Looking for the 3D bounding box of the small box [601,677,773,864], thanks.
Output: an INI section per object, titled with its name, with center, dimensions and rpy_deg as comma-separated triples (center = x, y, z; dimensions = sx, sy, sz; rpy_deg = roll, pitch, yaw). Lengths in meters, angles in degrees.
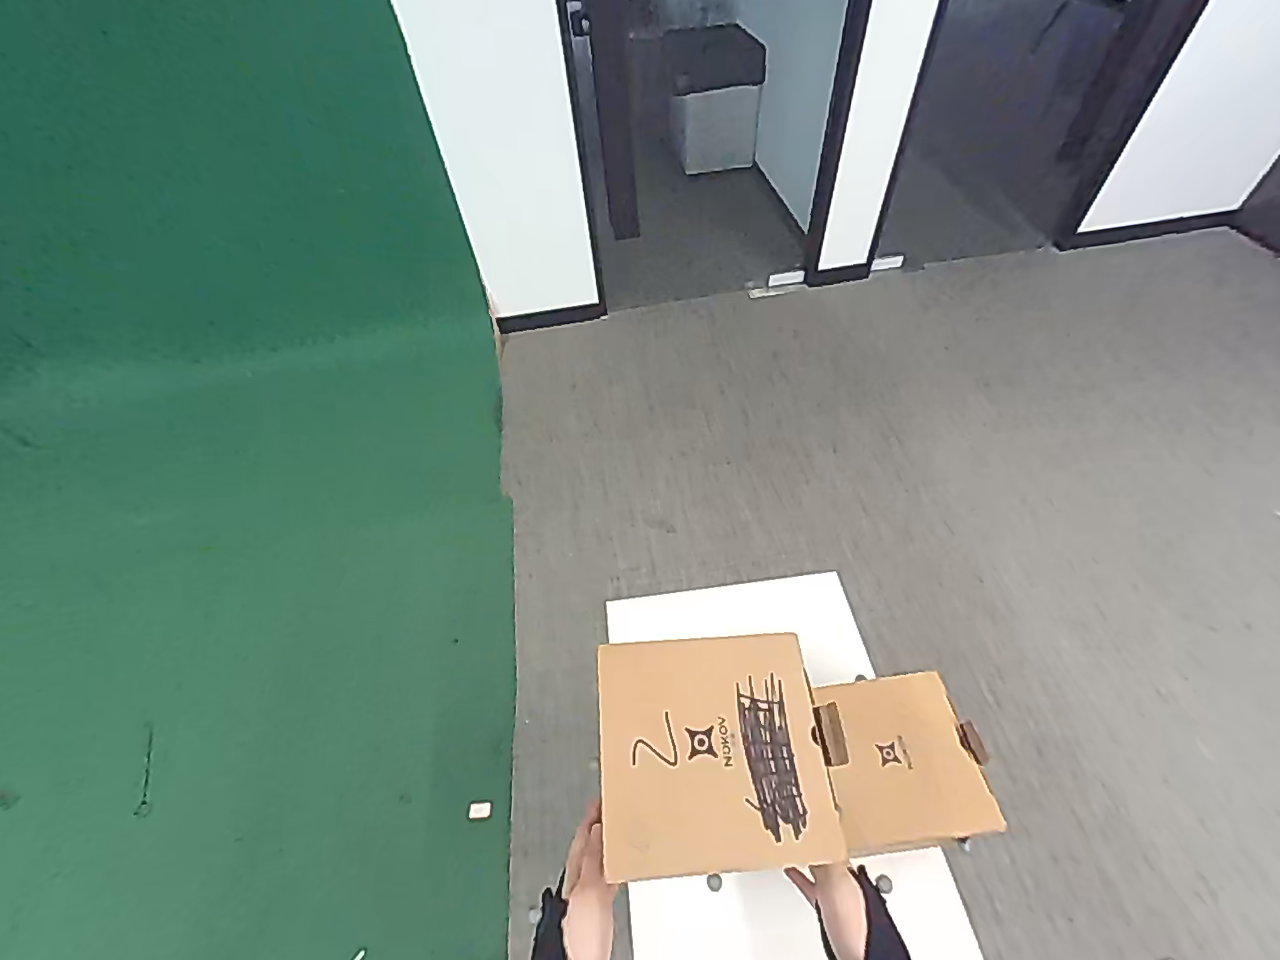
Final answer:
[small box]
center = 0.052, 0.365, 0.674
dimensions = 0.179, 0.176, 0.168
rpy_deg = -7, 52, -2
